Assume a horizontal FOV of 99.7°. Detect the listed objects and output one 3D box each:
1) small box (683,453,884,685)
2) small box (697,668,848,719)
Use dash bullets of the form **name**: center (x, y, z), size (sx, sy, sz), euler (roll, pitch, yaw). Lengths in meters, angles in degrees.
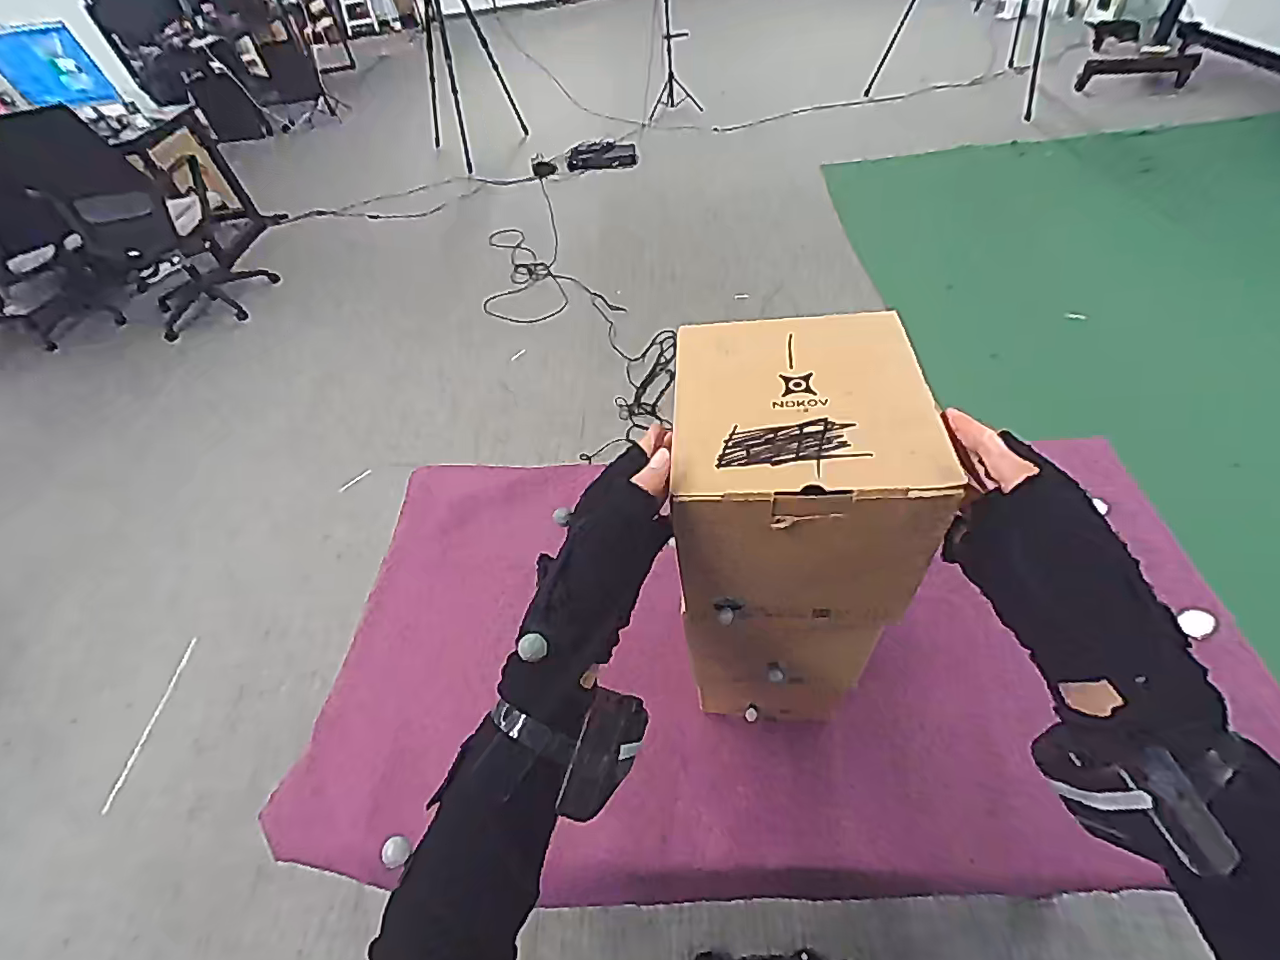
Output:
- **small box**: center (0.133, 0.093, 0.559), size (0.168, 0.176, 0.179), euler (-2, 50, 9)
- **small box**: center (0.159, 0.186, 0.692), size (0.168, 0.176, 0.179), euler (-1, 51, 9)
